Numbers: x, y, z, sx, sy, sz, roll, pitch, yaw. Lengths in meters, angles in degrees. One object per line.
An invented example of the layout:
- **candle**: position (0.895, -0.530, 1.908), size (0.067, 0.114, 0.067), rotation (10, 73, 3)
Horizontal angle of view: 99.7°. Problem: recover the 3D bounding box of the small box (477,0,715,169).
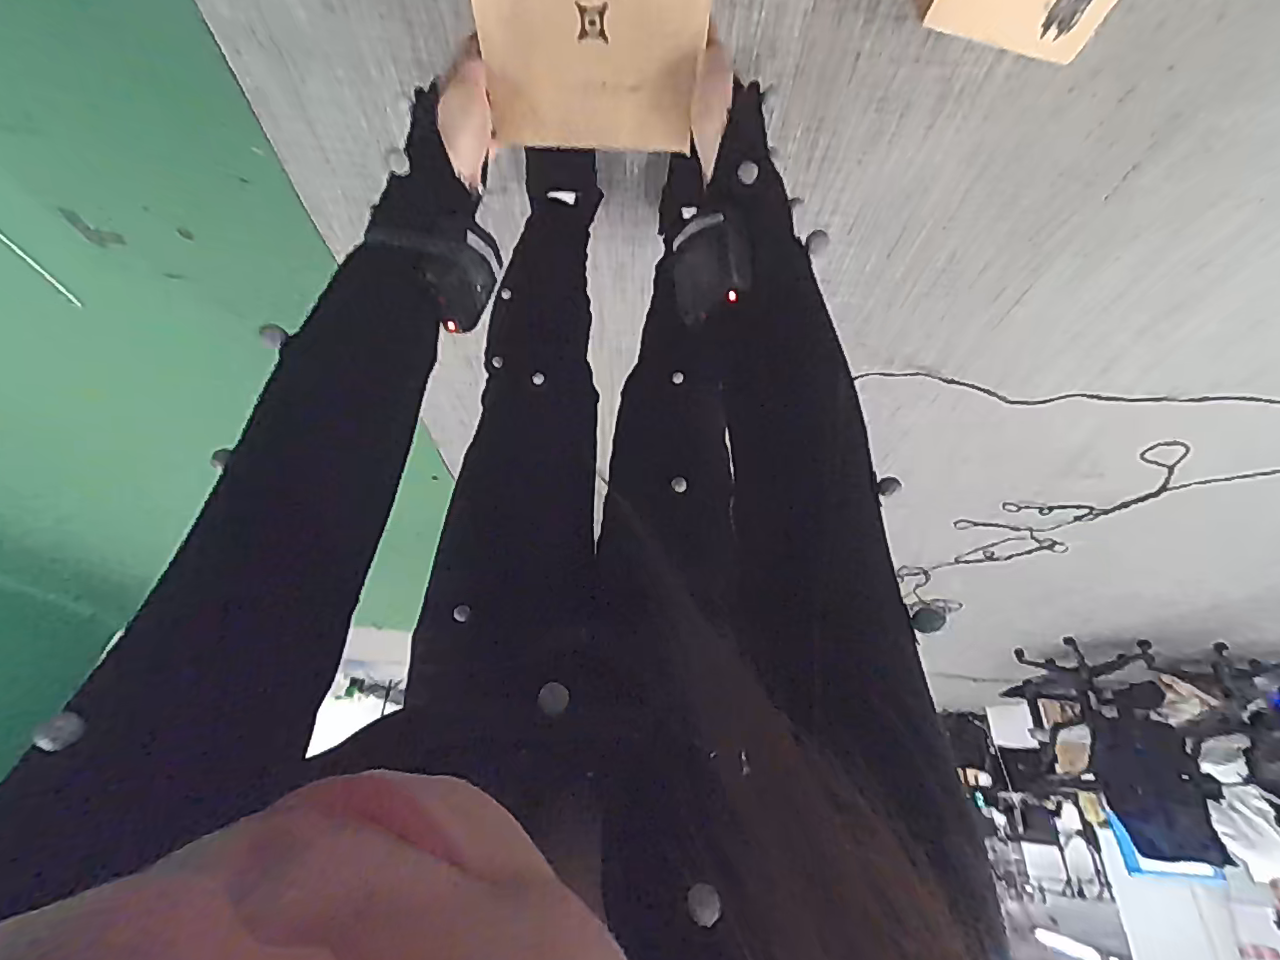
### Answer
- **small box**: position (-0.029, -0.381, 0.429), size (0.168, 0.176, 0.179), rotation (2, 148, 1)
